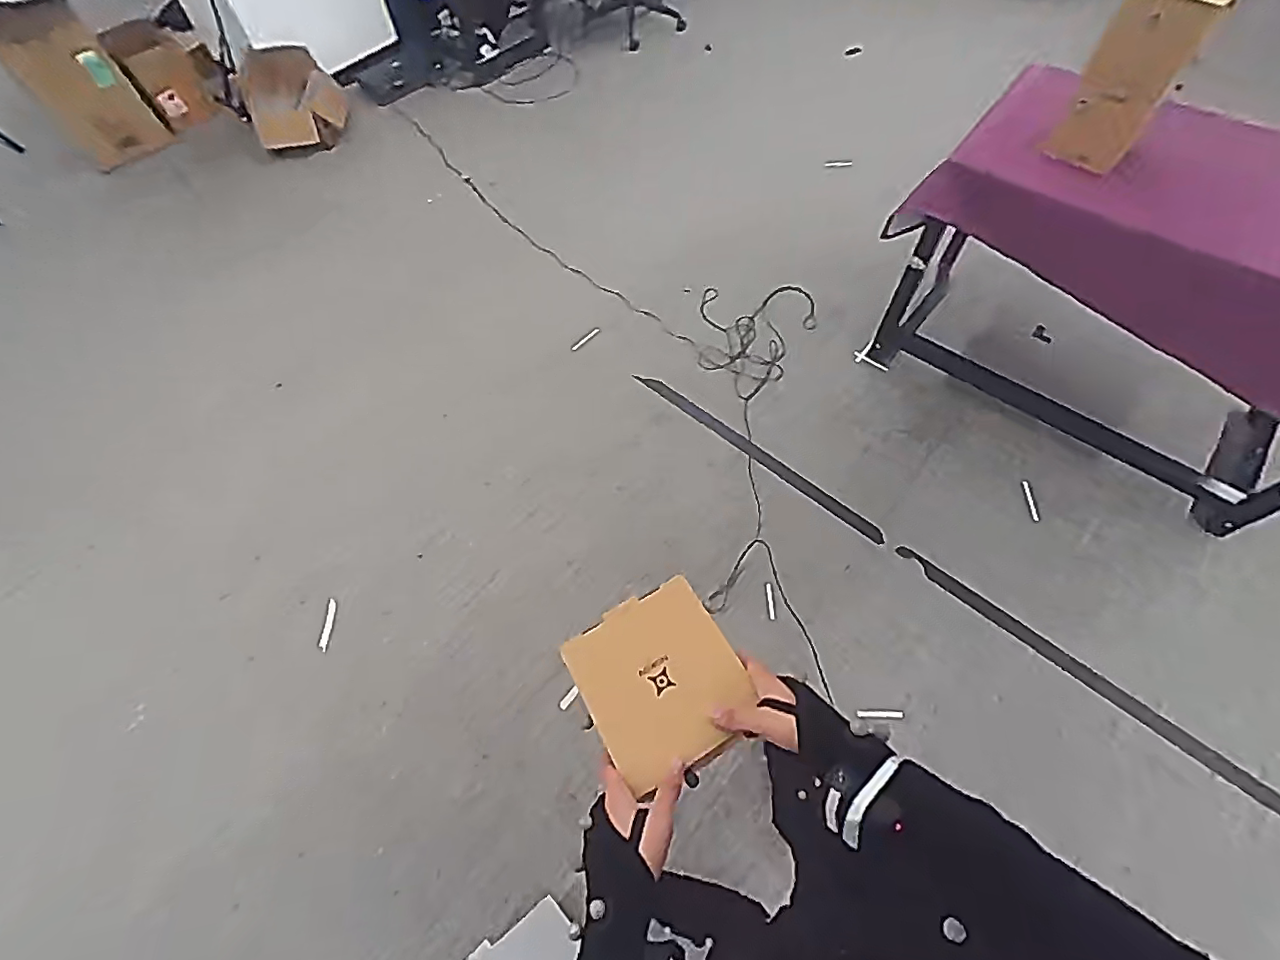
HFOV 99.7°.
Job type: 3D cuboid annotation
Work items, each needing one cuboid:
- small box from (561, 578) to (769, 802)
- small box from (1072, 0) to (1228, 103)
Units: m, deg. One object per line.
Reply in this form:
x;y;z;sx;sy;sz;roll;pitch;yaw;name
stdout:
0.032;0.253;0.646;0.168;0.176;0.179;-29;59;-11;small box
1.115;-0.970;1.191;0.179;0.176;0.168;39;69;22;small box
